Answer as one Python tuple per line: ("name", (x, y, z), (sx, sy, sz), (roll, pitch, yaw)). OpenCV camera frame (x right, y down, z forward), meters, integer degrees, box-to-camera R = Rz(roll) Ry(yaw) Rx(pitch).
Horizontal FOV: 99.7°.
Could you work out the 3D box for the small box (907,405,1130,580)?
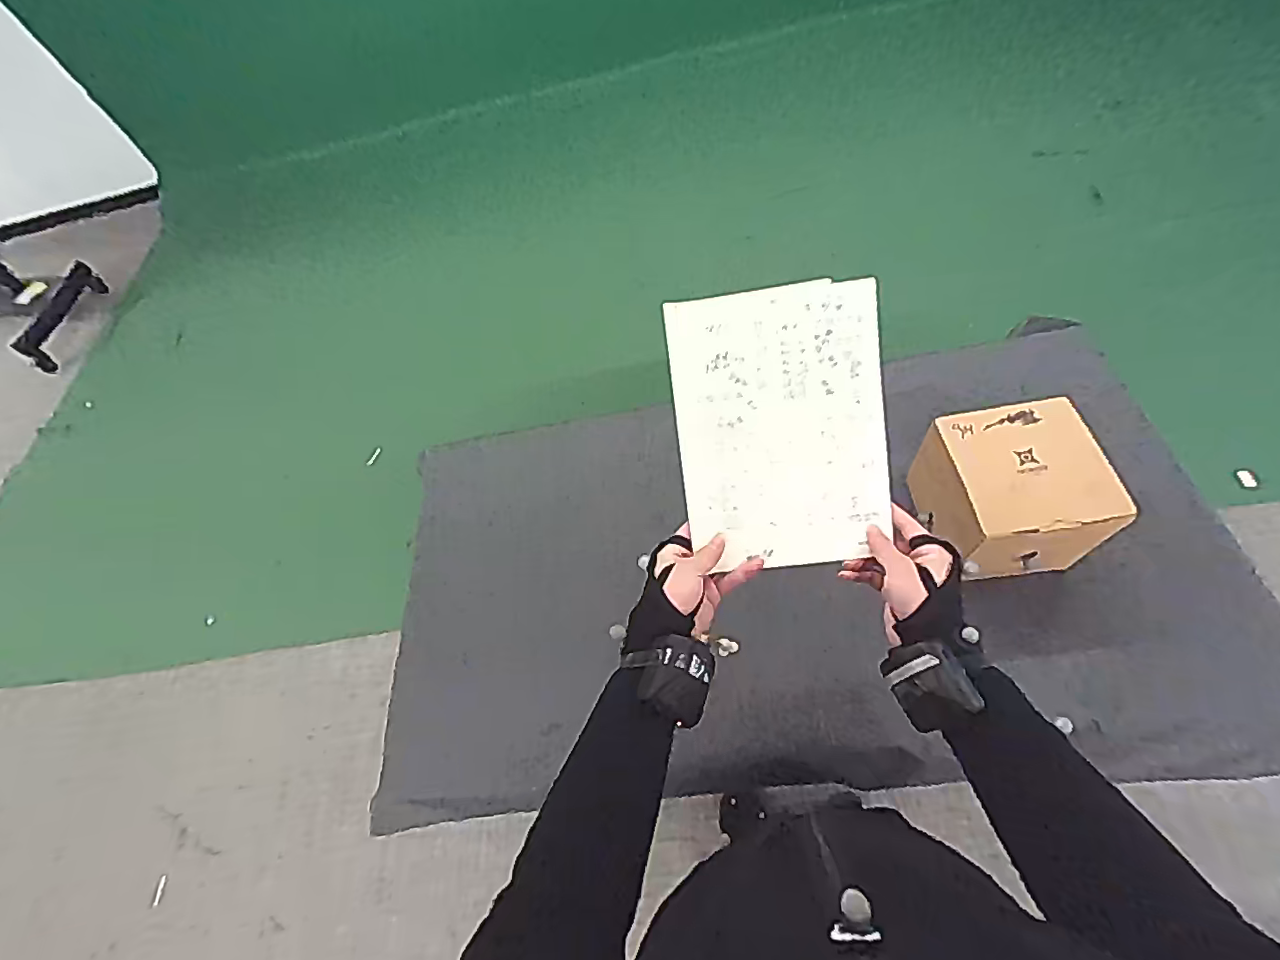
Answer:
("small box", (0.487, 0.028, 0.732), (0.168, 0.176, 0.179), (-9, 61, 7))
